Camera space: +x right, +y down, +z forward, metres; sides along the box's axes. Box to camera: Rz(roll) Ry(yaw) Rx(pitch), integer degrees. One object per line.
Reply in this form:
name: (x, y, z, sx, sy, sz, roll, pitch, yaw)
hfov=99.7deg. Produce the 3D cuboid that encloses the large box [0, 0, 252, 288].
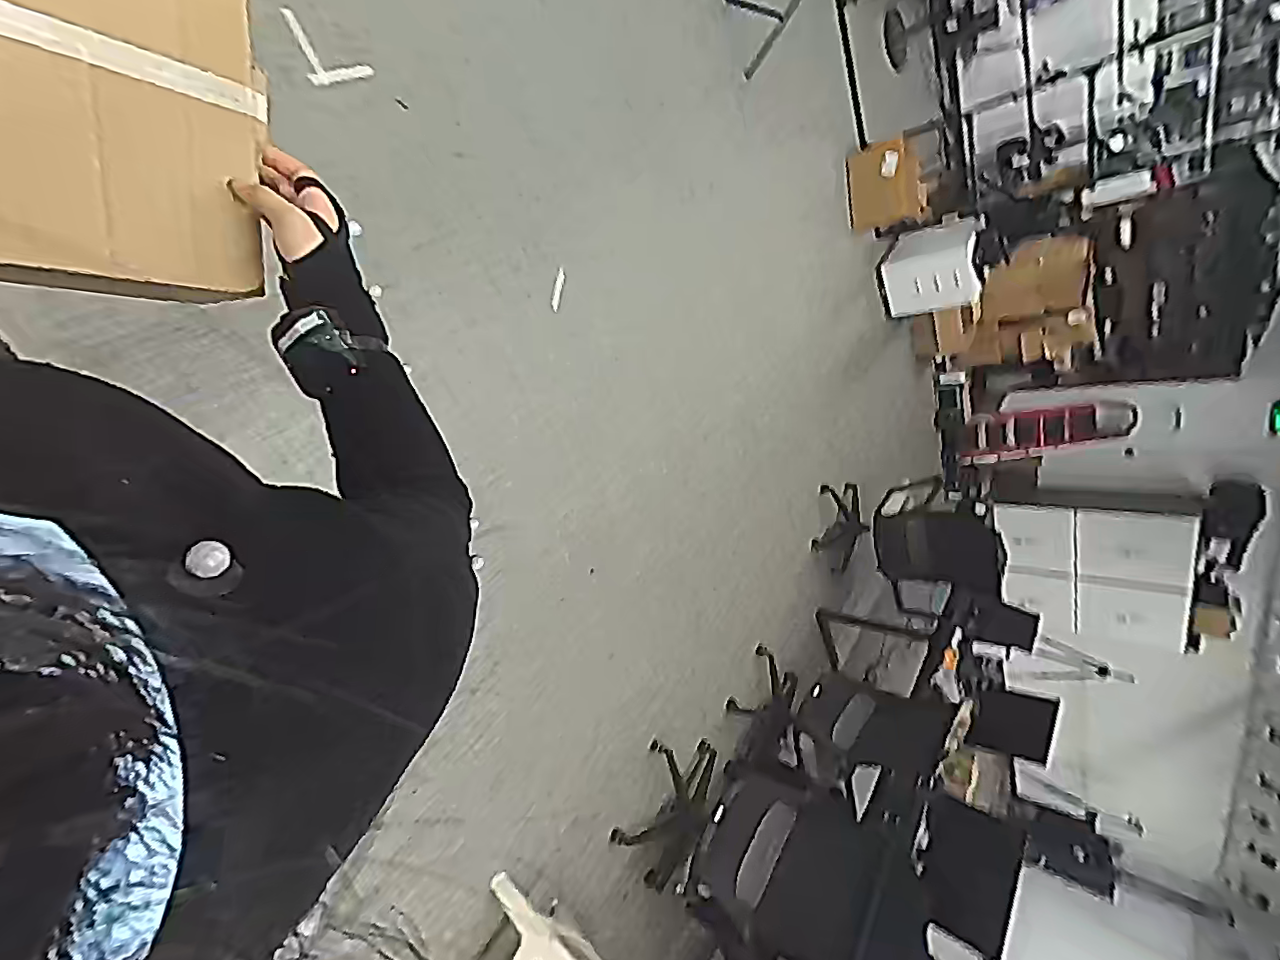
large box: (-0.589, -0.337, 0.424, 0.408, 0.320, 0.320, -9, 107, -45)
